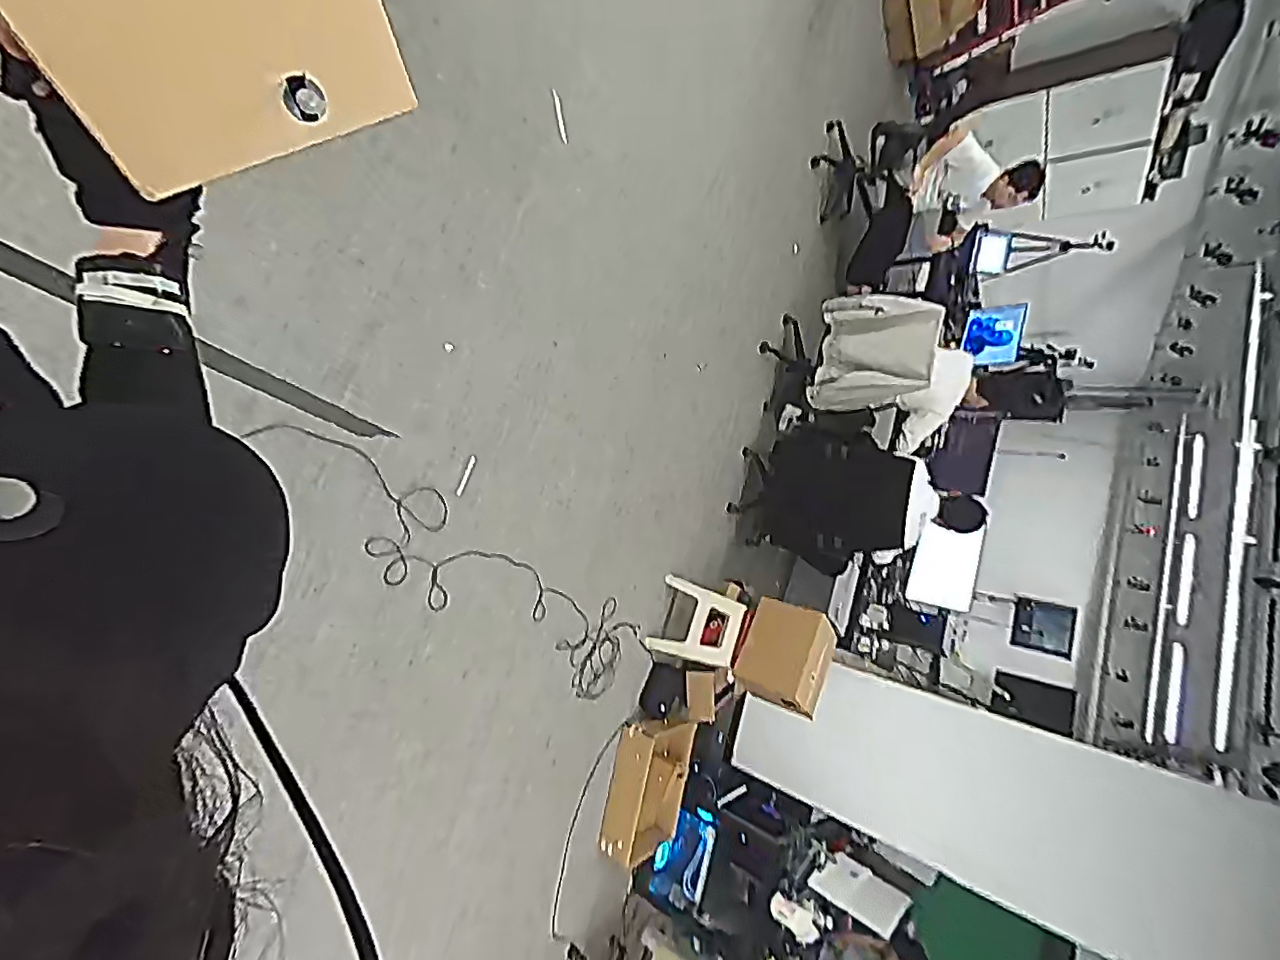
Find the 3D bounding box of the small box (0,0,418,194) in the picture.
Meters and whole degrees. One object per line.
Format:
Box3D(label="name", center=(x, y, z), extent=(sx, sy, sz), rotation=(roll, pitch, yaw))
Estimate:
Box3D(label="small box", center=(-0.261, -0.295, 0.298), extent=(0.168, 0.179, 0.176), rotation=(-36, 147, -21))
